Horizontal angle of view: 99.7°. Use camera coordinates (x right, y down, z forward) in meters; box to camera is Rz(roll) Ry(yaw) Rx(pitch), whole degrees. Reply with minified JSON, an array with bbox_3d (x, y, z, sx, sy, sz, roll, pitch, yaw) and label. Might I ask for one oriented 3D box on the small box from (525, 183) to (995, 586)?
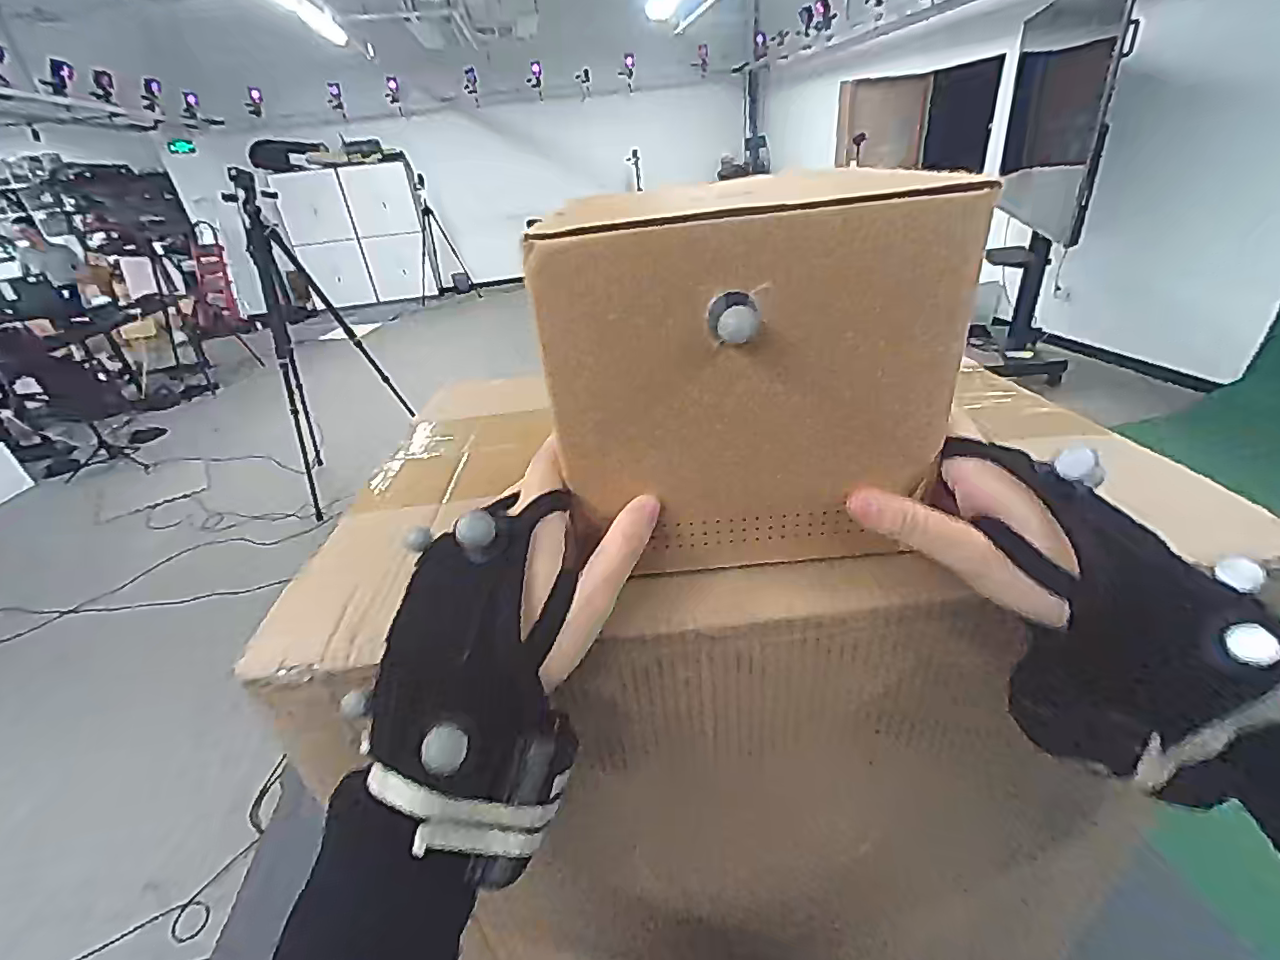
[{"bbox_3d":[0.051,-0.059,0.306,0.179,0.176,0.168,-5,31,3],"label":"small box"}]
